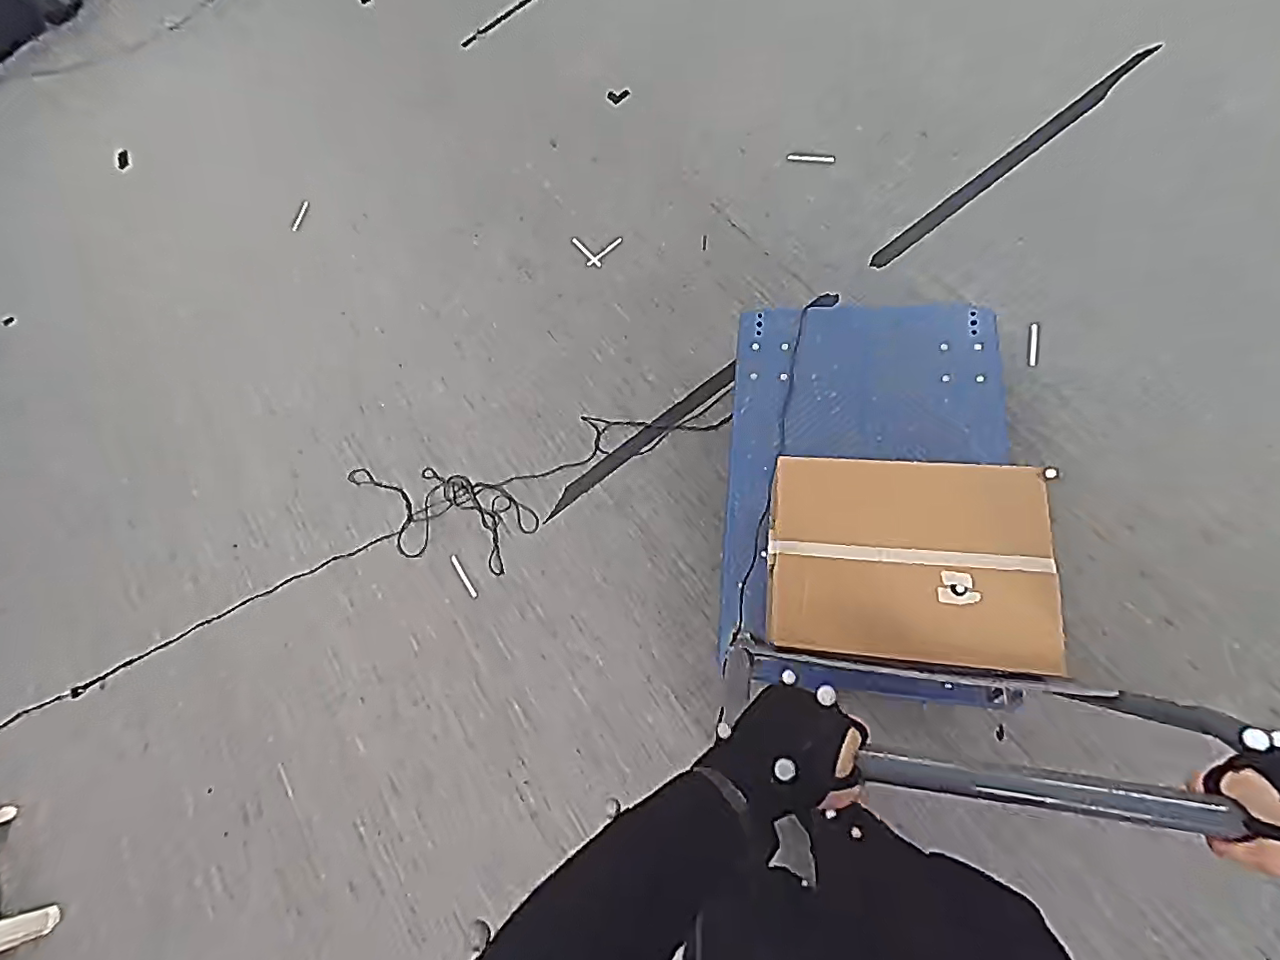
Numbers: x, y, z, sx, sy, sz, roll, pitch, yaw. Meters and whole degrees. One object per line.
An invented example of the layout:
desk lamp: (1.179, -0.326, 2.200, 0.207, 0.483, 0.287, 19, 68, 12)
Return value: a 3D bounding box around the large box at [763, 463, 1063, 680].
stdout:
large box: (0.433, 0.170, 0.970, 0.408, 0.320, 0.320, 3, 74, 11)
